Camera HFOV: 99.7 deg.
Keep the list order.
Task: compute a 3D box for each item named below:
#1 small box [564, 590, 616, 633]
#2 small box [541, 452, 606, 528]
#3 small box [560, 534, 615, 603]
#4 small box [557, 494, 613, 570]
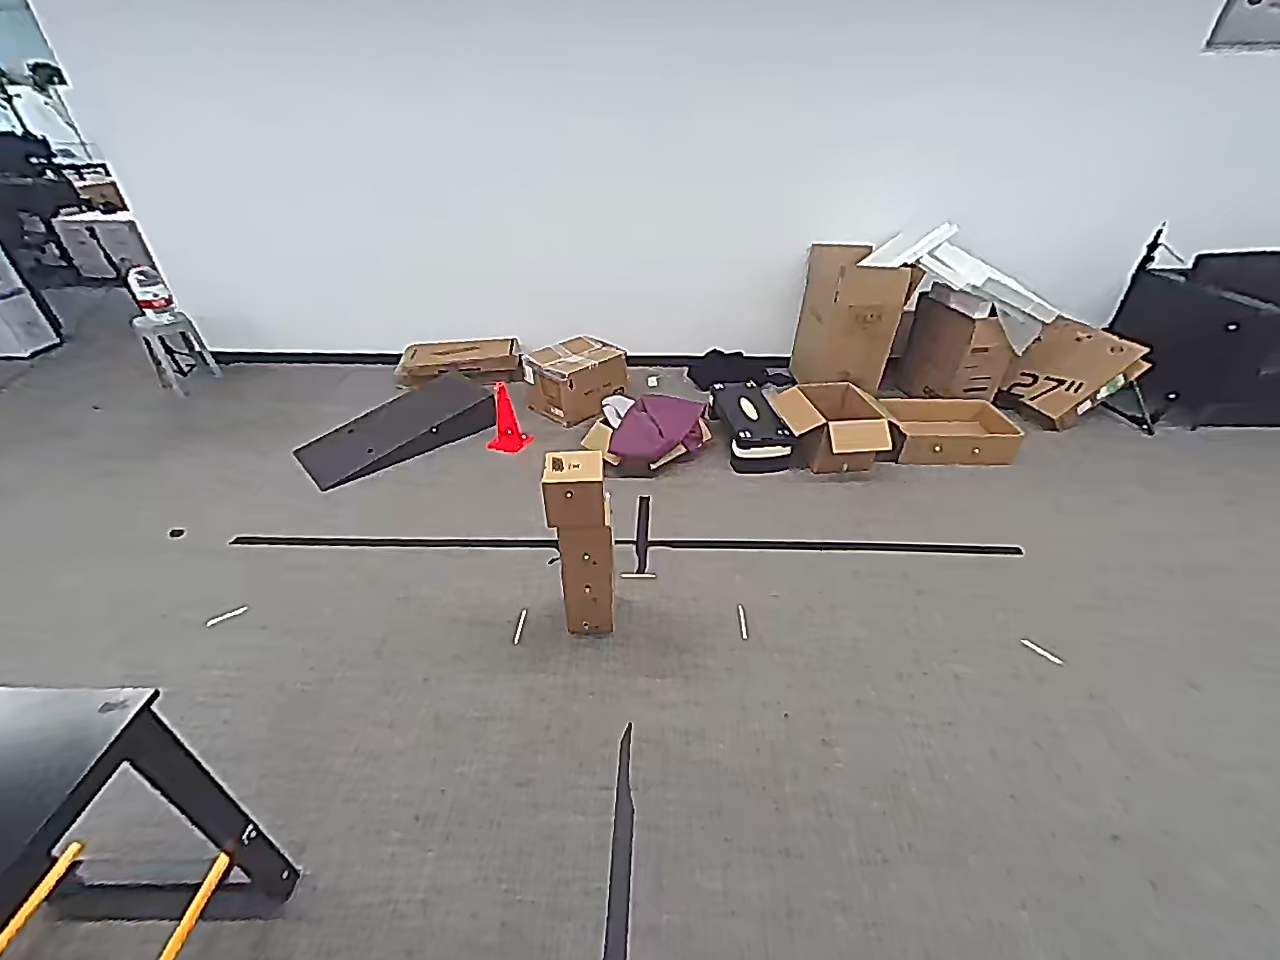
[{"bbox_3d":[-0.174,0.427,1.938,0.168,0.176,0.179,-2,36,0],"label":"small box"},{"bbox_3d":[-0.197,0.032,1.642,0.179,0.176,0.168,-3,35,-3],"label":"small box"},{"bbox_3d":[-0.171,0.302,1.831,0.168,0.176,0.179,-1,35,1],"label":"small box"},{"bbox_3d":[-0.174,0.166,1.736,0.168,0.176,0.179,-4,35,-3],"label":"small box"}]
